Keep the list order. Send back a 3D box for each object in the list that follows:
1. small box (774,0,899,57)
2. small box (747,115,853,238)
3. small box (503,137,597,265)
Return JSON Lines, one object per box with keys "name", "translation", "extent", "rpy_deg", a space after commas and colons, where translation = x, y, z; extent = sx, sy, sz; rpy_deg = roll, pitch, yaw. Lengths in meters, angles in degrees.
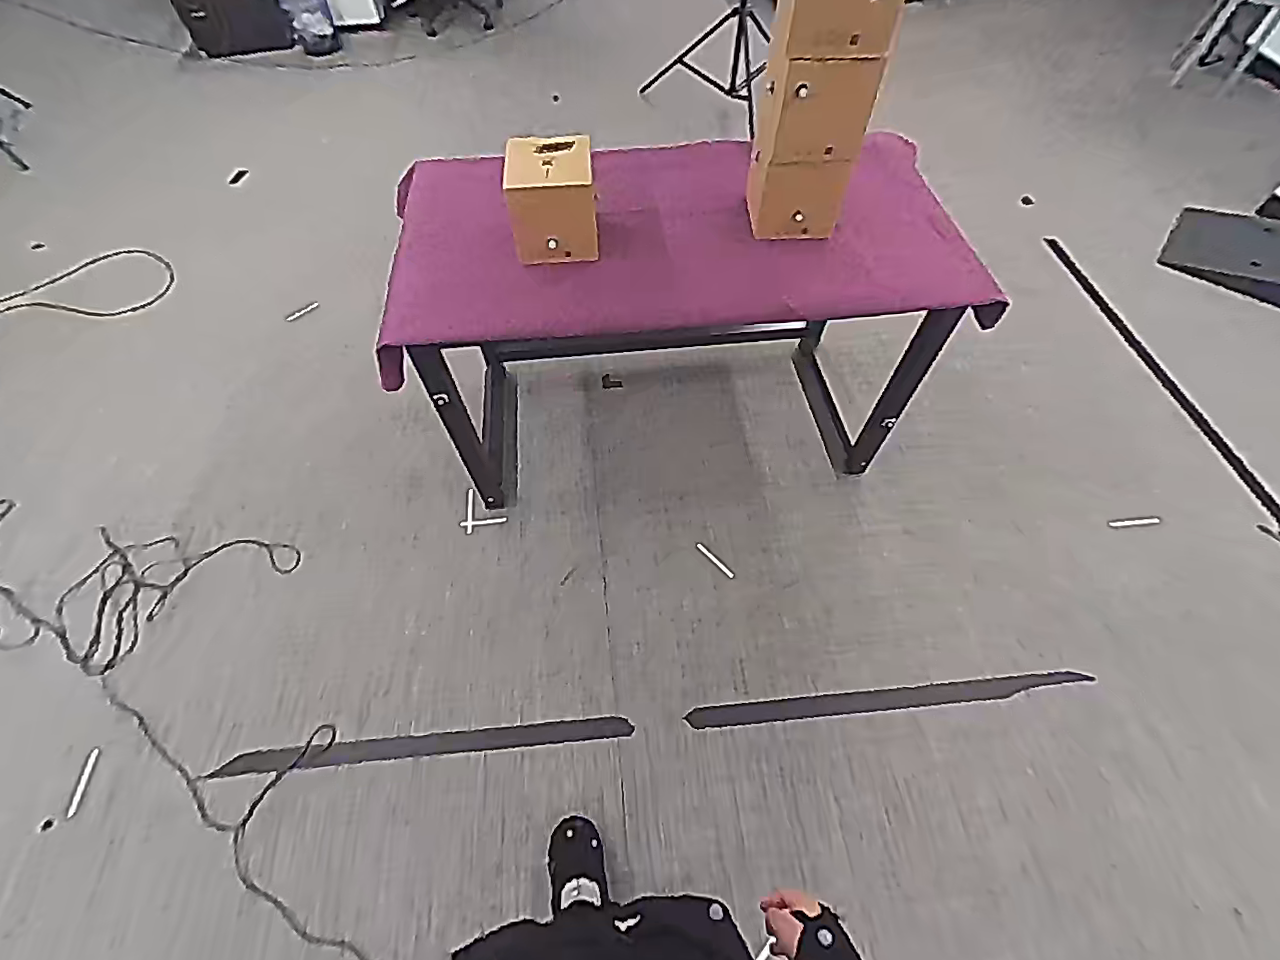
{"name": "small box", "translation": [0.317, -0.802, 0.857], "extent": [0.168, 0.176, 0.179], "rpy_deg": [1, 57, 0]}
{"name": "small box", "translation": [0.325, -0.636, 1.139], "extent": [0.168, 0.176, 0.179], "rpy_deg": [-1, 58, 1]}
{"name": "small box", "translation": [-0.176, -0.566, 1.102], "extent": [0.168, 0.176, 0.179], "rpy_deg": [-4, 59, -2]}
